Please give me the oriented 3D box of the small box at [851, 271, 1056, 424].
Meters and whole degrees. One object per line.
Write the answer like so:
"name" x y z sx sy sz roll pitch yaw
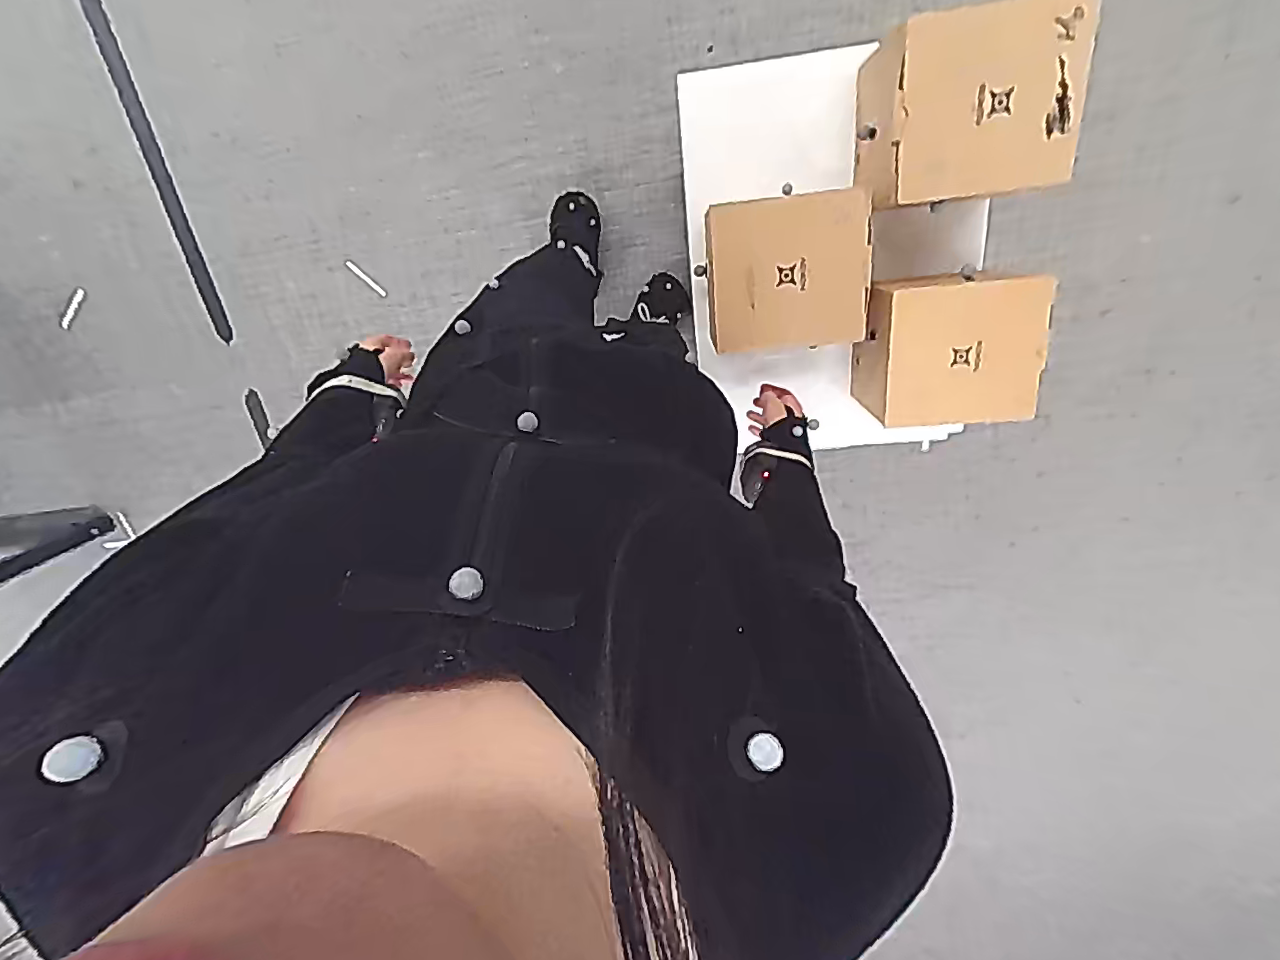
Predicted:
"small box" 0.386 -0.177 0.705 0.179 0.176 0.168 -3 112 7

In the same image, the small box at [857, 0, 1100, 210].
"small box" 0.355 -0.408 0.610 0.179 0.176 0.168 -3 114 8
